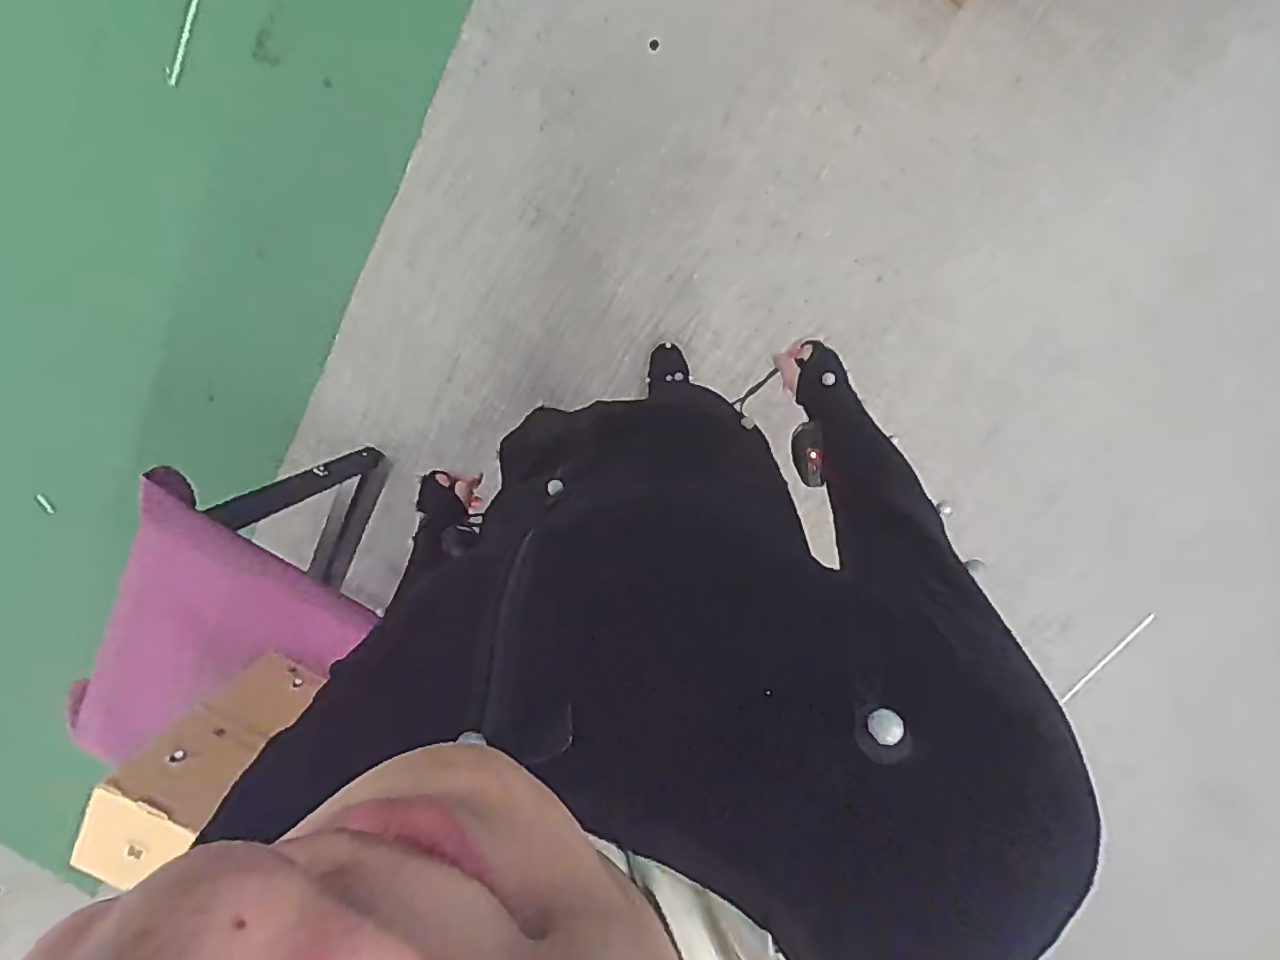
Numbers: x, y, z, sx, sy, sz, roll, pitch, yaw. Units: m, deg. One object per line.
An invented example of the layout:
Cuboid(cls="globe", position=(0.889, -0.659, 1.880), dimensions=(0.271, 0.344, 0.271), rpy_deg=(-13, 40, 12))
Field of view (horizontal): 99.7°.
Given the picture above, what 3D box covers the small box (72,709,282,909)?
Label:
Cuboid(cls="small box", position=(-0.707, 0.501, 0.846), dimensions=(0.168, 0.176, 0.179), rpy_deg=(31, 106, -3))
